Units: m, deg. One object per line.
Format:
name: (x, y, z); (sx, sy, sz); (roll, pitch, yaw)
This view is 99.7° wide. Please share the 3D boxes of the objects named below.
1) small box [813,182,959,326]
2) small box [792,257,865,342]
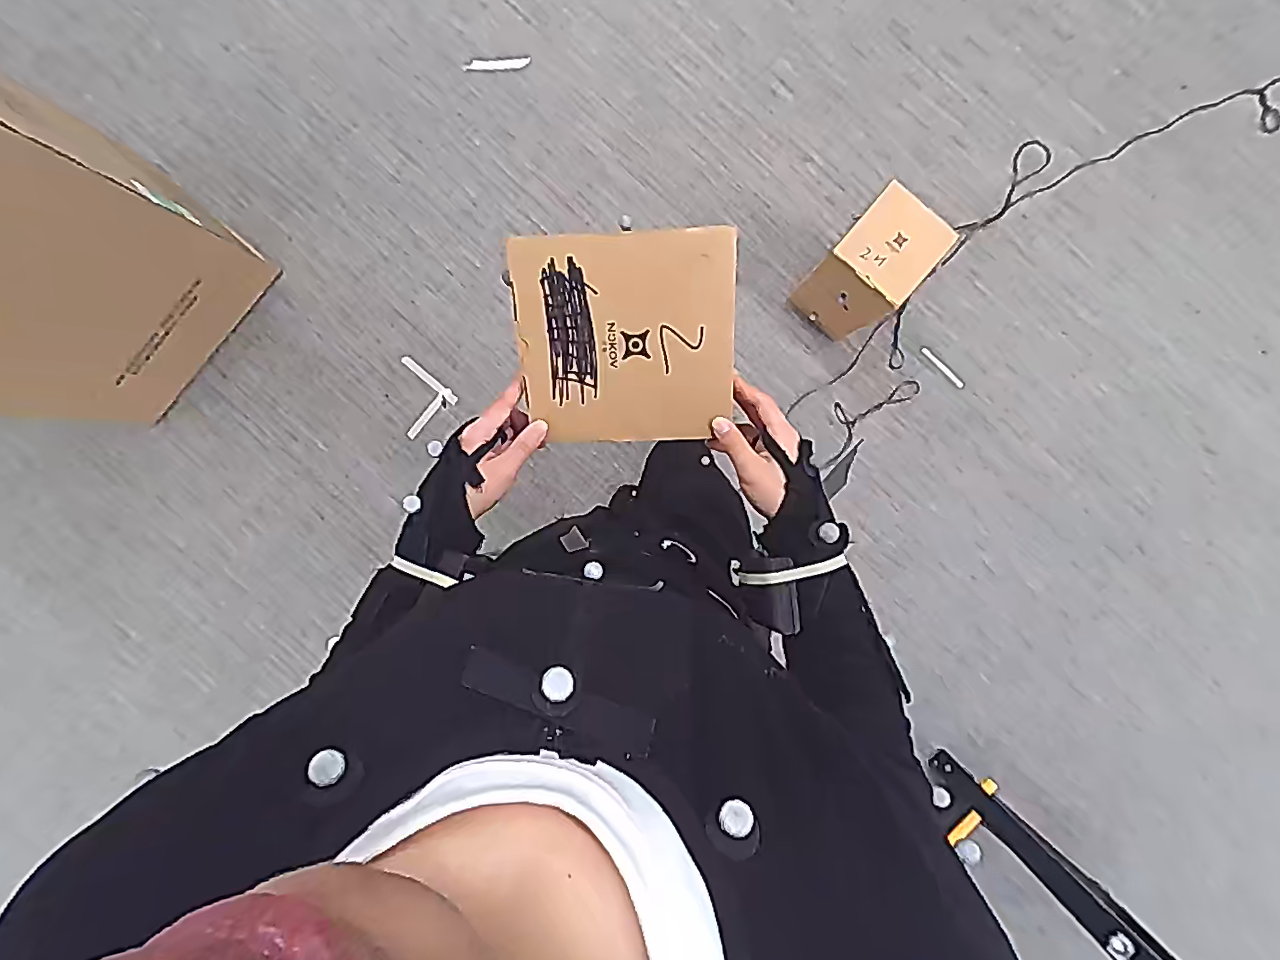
small box: (0.480, -0.441, 1.086); (0.168, 0.176, 0.179); (41, 93, 0)
small box: (0.482, -0.448, 1.251); (0.168, 0.176, 0.179); (42, 93, -1)
